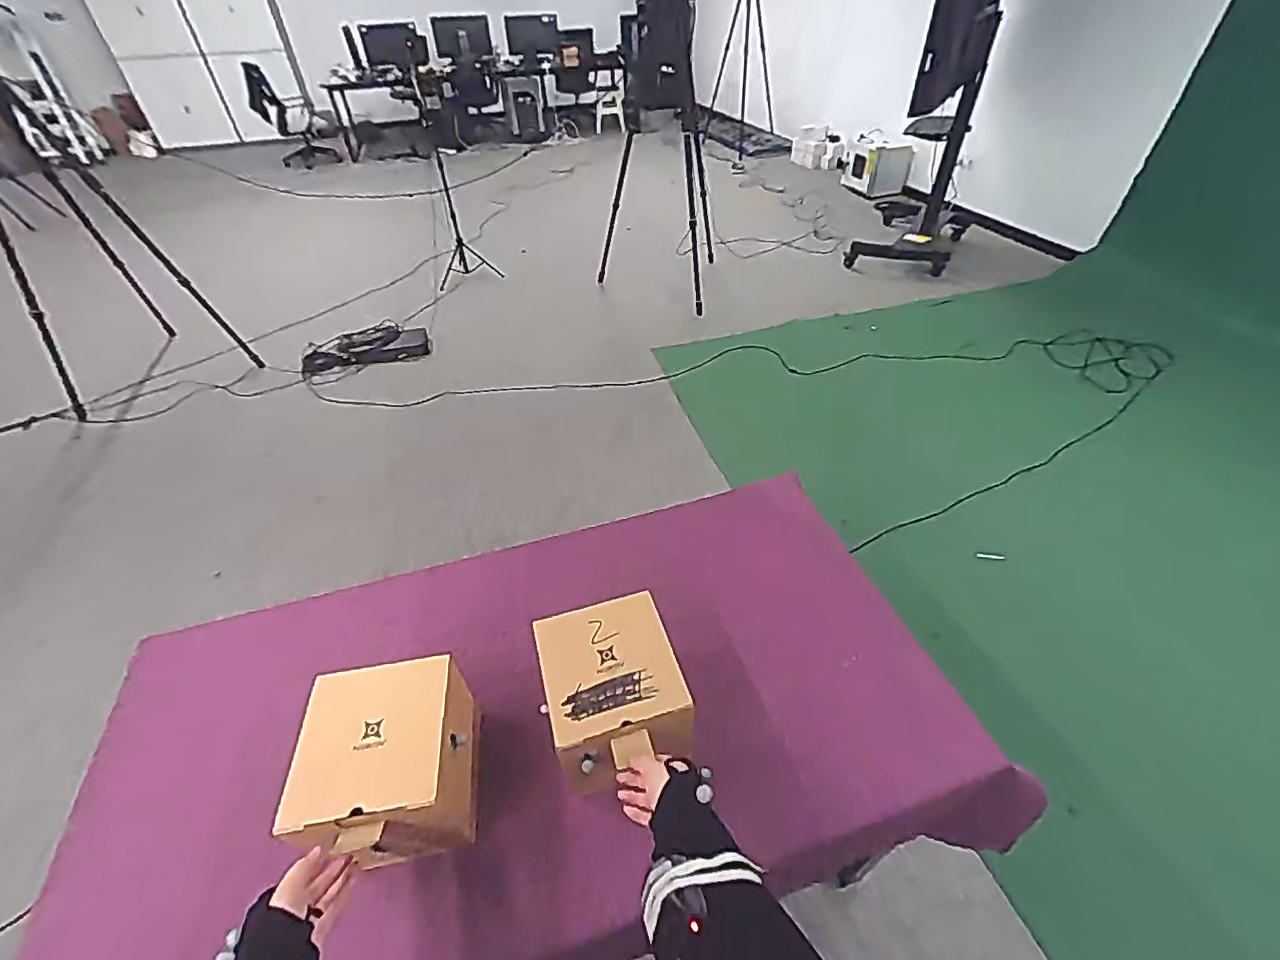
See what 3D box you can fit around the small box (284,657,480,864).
[{"bbox_3d":[-0.308,0.357,0.692,0.168,0.176,0.179,-8,44,-6],"label":"small box"}]
